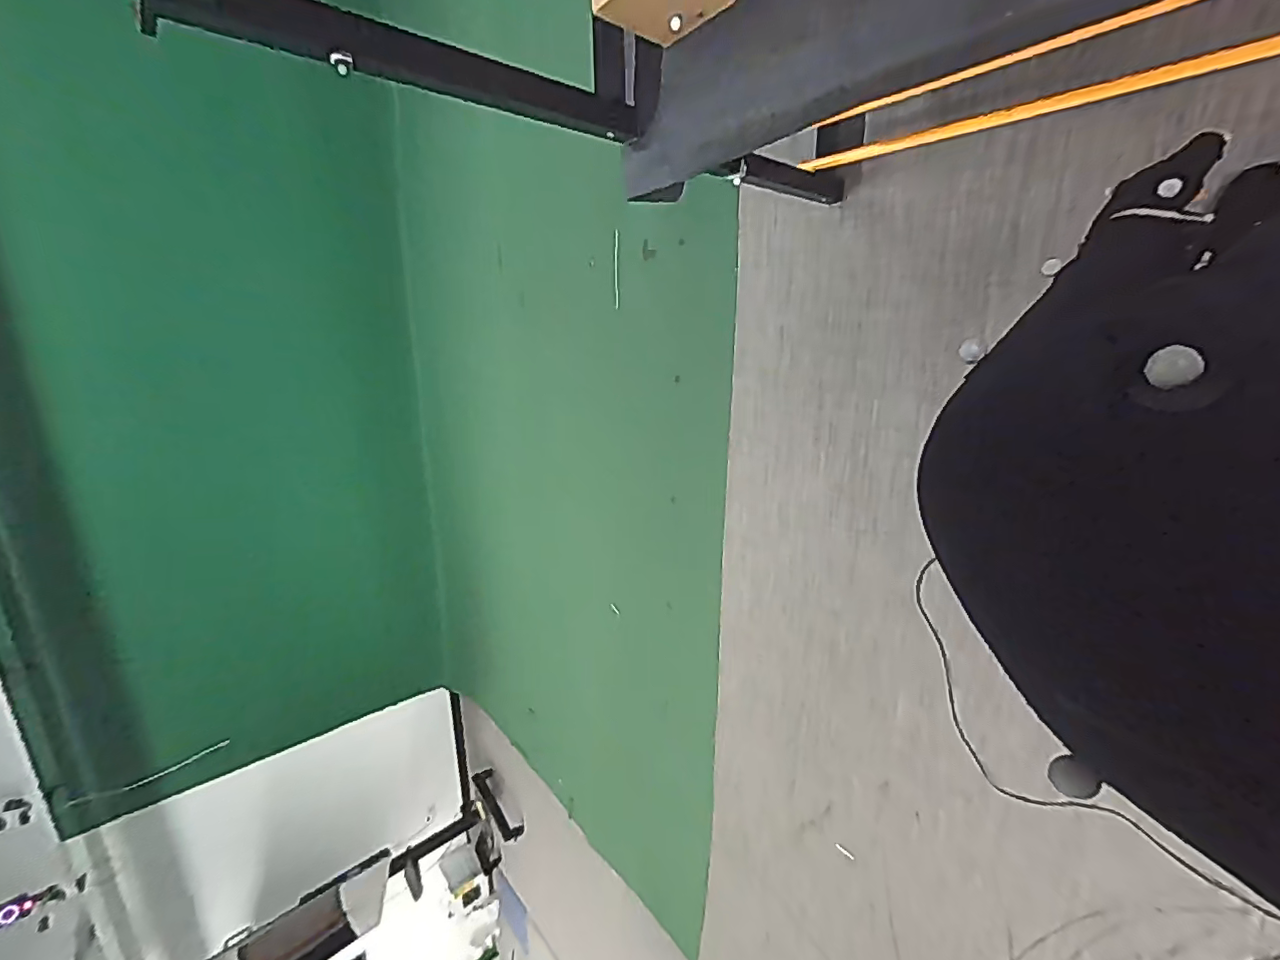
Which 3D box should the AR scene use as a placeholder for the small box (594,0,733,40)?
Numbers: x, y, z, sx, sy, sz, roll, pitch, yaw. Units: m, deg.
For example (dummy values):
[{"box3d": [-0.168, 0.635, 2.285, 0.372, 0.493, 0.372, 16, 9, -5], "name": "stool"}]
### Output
[{"box3d": [0.039, -0.842, 0.842, 0.168, 0.176, 0.179, 13, 110, 49], "name": "small box"}]
